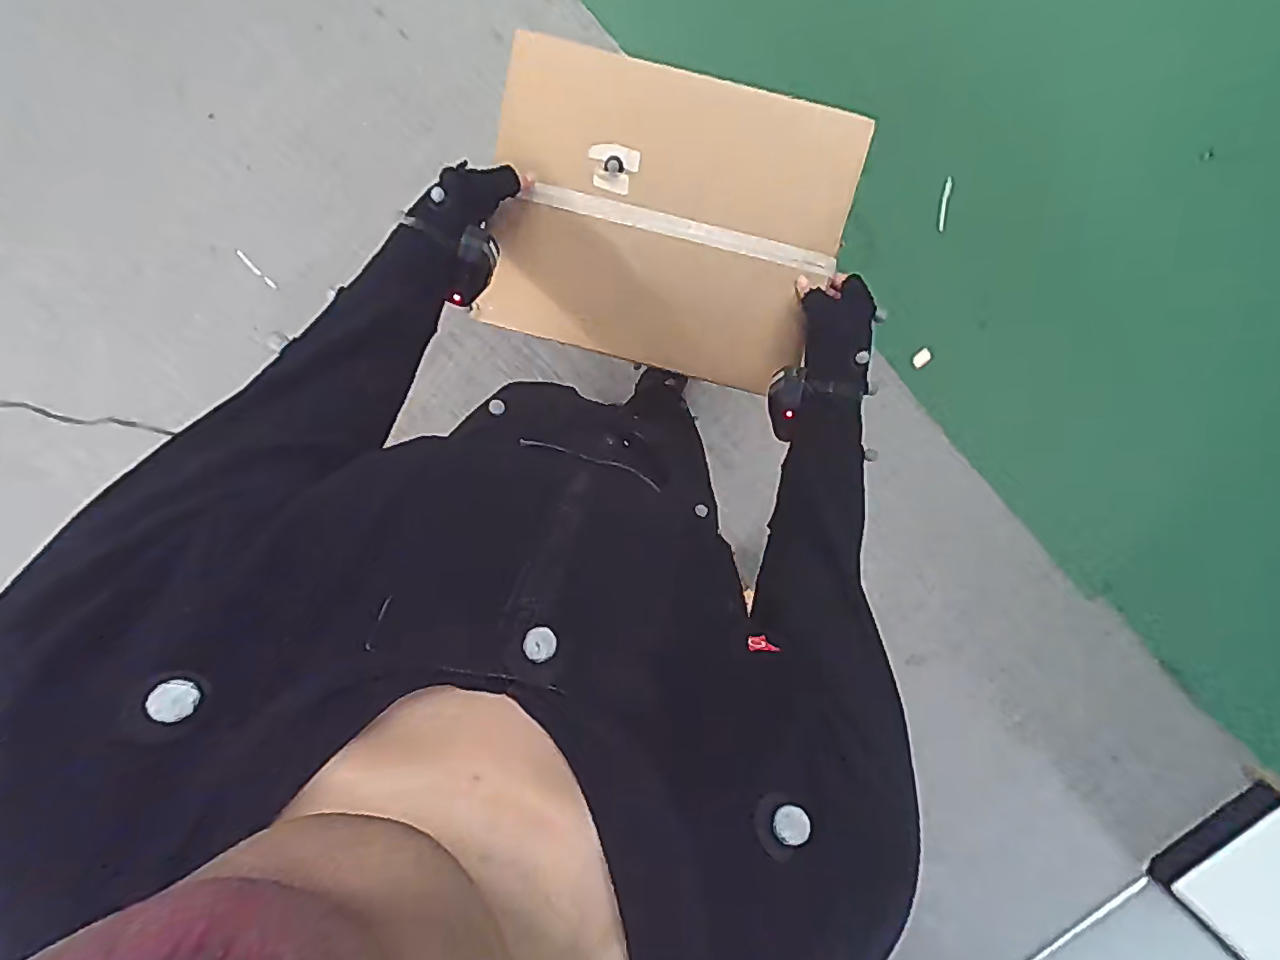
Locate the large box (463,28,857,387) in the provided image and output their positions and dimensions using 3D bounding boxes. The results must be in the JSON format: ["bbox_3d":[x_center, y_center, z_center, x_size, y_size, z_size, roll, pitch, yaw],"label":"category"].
[{"bbox_3d":[0.021,-0.338,0.760,0.408,0.320,0.320,15,105,1],"label":"large box"}]
